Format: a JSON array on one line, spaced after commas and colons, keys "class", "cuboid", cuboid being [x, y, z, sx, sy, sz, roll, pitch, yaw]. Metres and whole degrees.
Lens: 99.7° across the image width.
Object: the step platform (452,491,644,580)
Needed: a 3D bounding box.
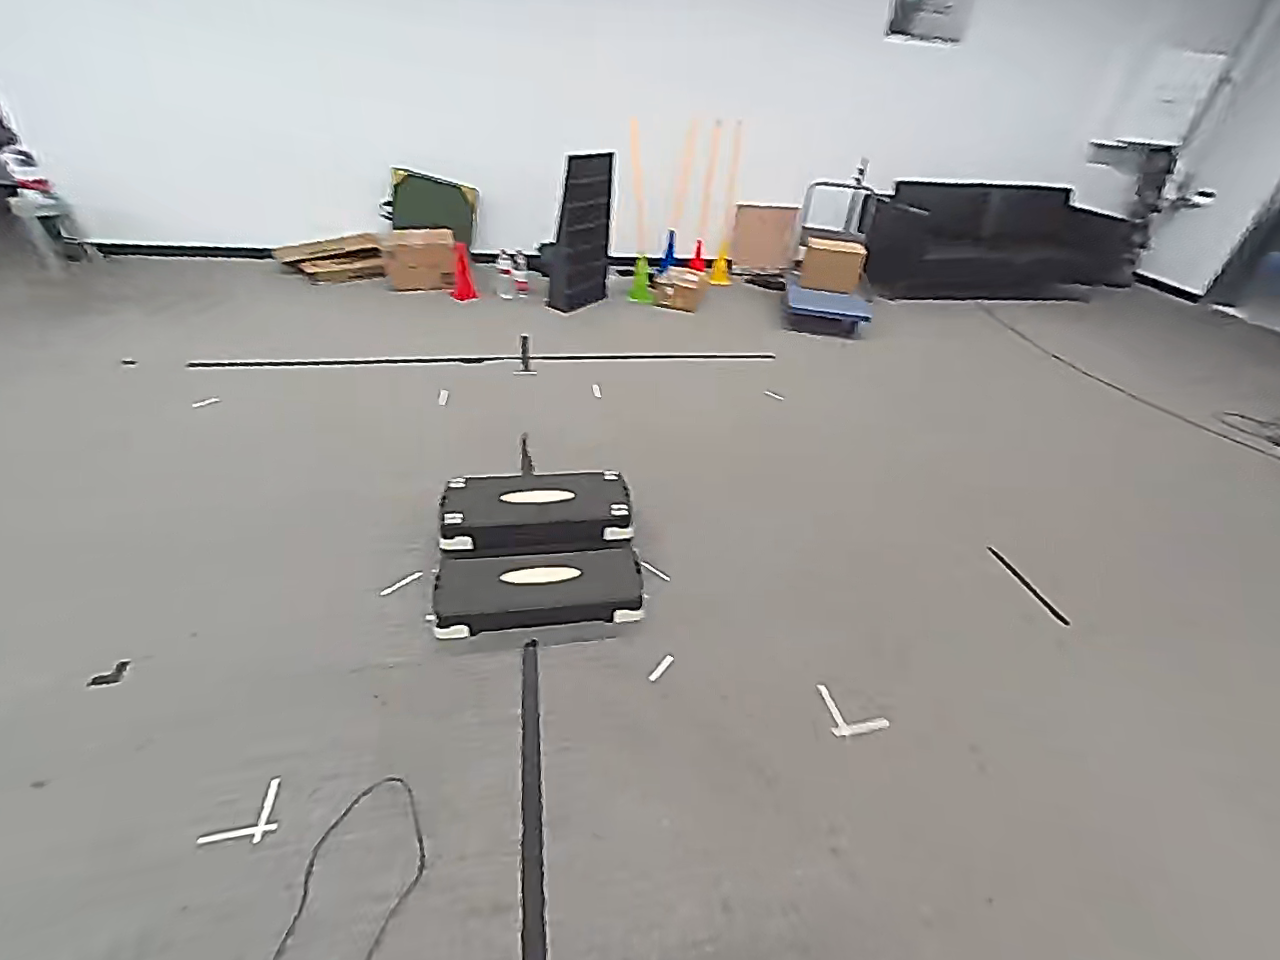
[{"class": "step platform", "cuboid": [-0.328, 0.193, 1.987, 0.684, 0.204, 0.286, 1, 36, -7]}]
